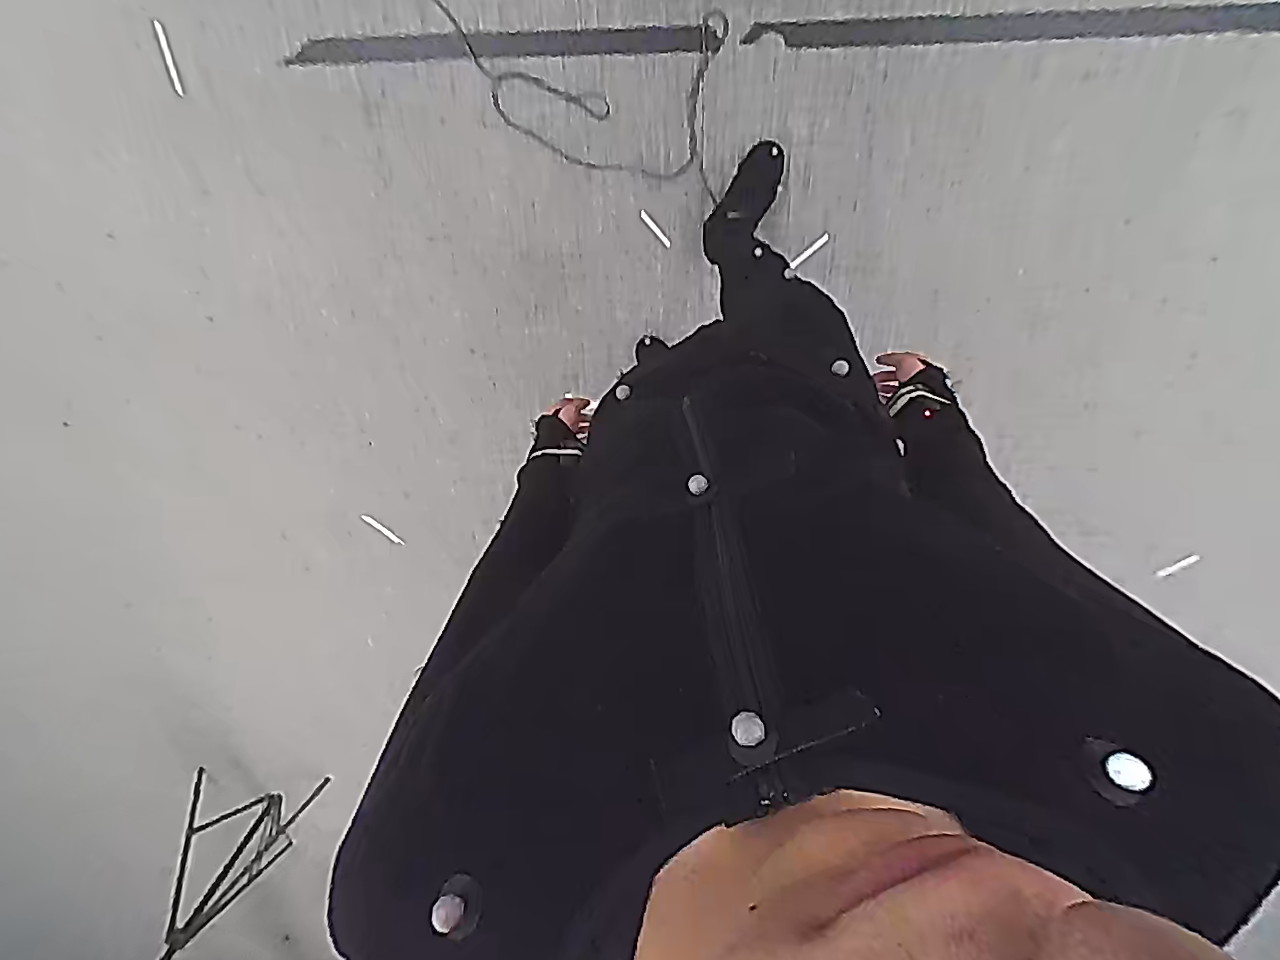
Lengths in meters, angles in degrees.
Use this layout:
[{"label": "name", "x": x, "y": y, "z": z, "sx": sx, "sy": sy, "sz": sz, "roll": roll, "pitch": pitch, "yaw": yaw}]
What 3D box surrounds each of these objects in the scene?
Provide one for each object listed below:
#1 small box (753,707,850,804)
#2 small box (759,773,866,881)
[{"label": "small box", "x": 0.366, "y": 0.652, "z": 1.258, "sx": 0.179, "sy": 0.176, "sz": 0.168, "roll": 1, "pitch": 116, "yaw": 4}, {"label": "small box", "x": 0.345, "y": 0.735, "z": 1.119, "sx": 0.168, "sy": 0.176, "sz": 0.179, "roll": 1, "pitch": 117, "yaw": 3}]
